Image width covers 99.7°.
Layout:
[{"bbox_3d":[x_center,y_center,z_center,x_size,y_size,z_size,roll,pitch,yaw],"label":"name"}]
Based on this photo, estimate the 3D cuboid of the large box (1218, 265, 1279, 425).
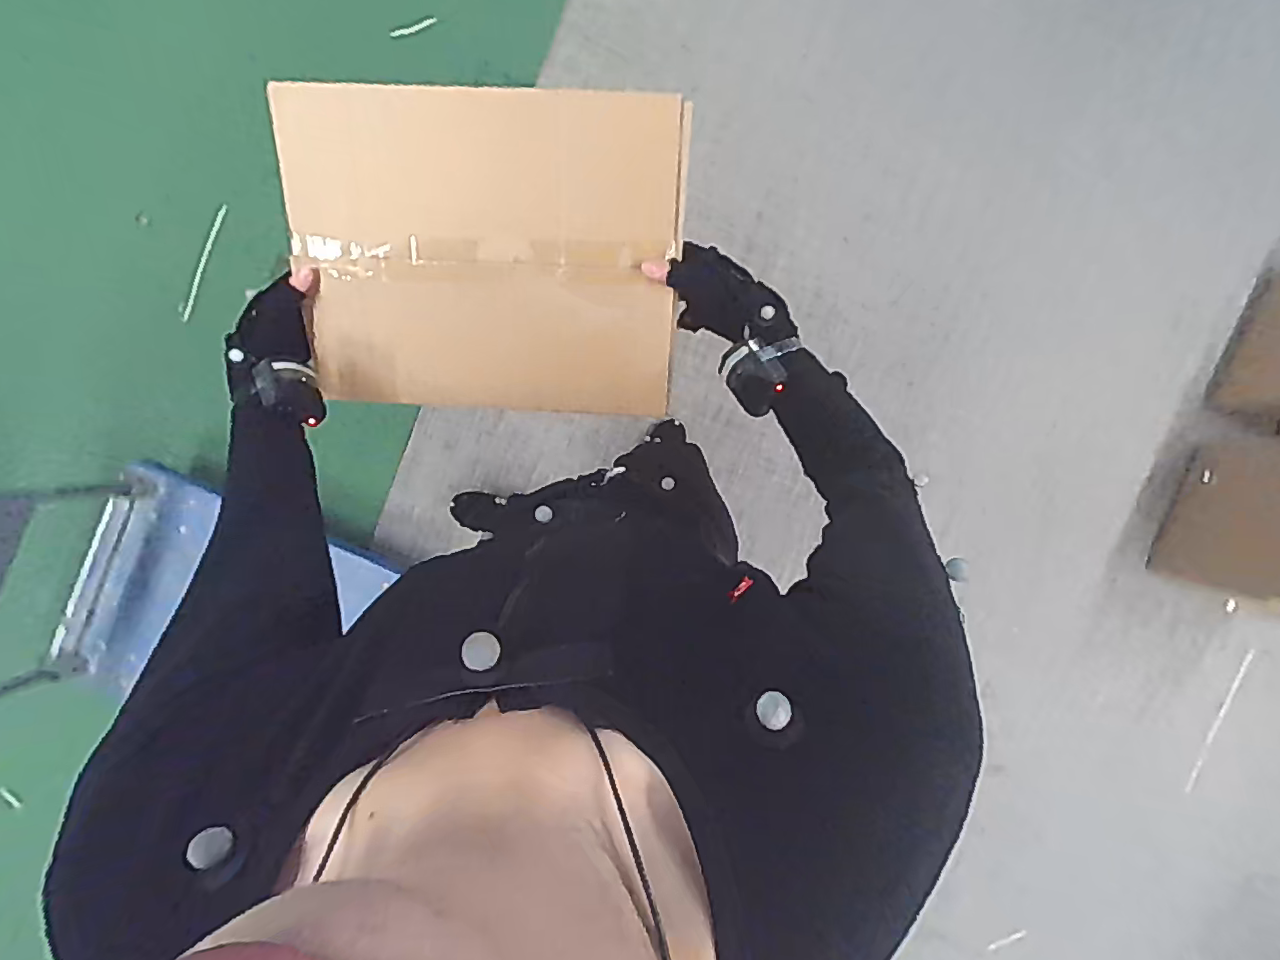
[{"bbox_3d":[1.827,-0.347,1.366,0.320,0.320,0.408,22,93,-4],"label":"large box"}]
